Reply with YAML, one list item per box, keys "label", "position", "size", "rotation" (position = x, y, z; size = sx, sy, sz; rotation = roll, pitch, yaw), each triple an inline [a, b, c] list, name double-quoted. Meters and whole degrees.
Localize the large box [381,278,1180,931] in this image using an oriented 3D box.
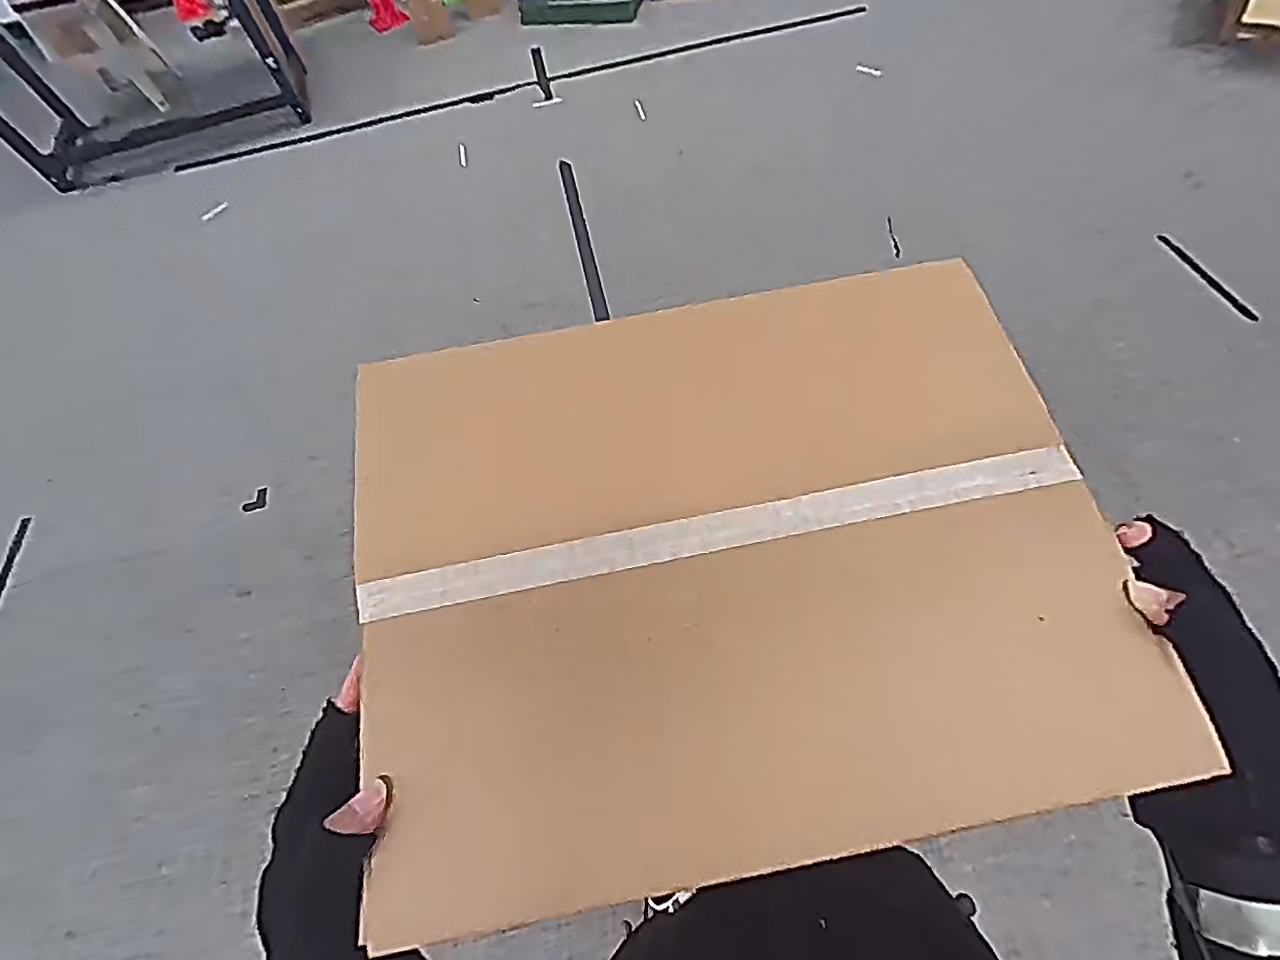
- label: "large box"
  position: [0.053, 0.090, 0.454]
  size: [0.408, 0.320, 0.320]
  rotation: [-11, 69, -2]
